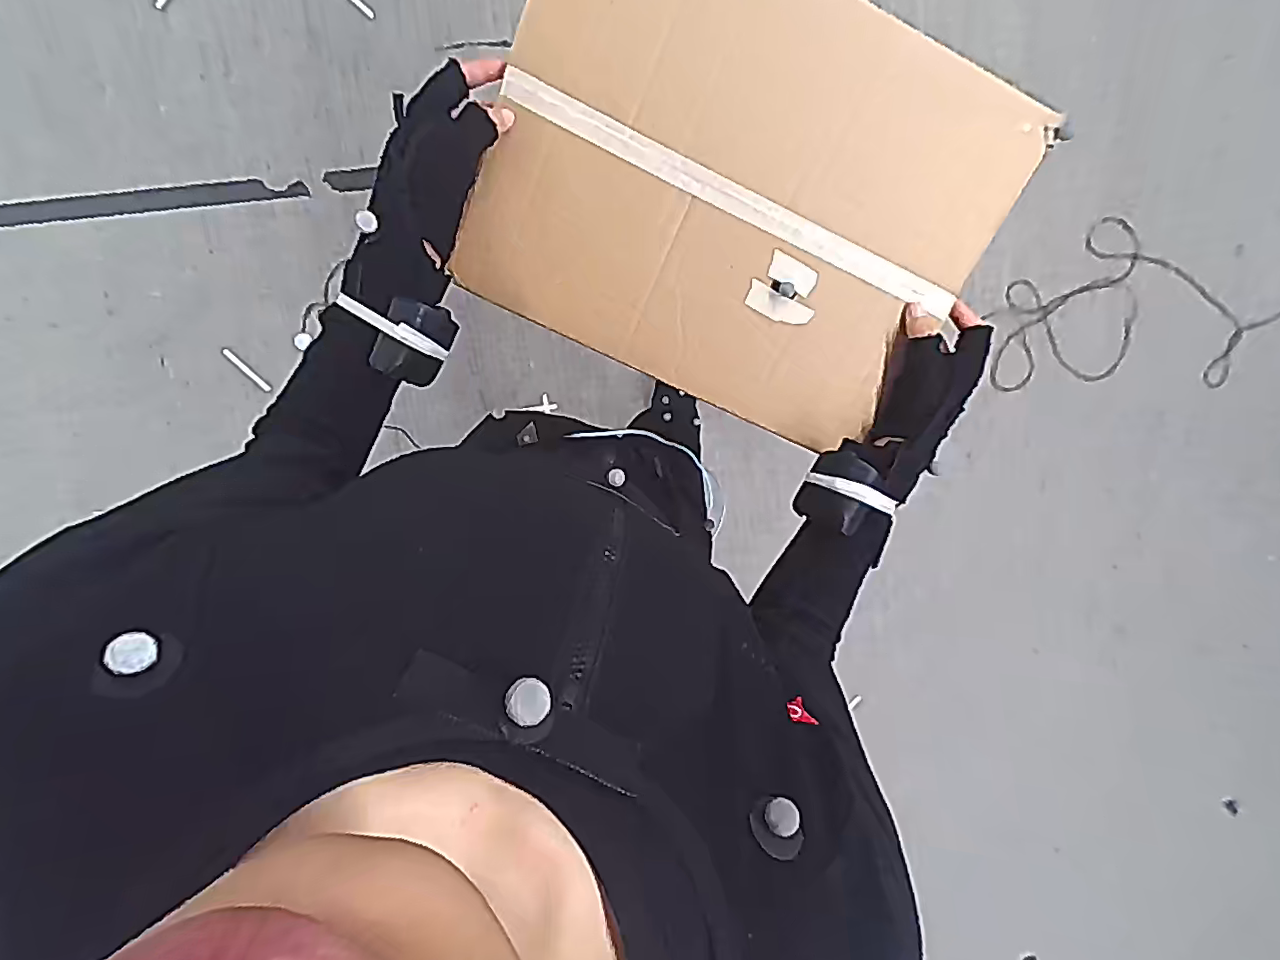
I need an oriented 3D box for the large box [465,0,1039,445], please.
[{"bbox_3d":[0.083,-0.285,0.597,0.408,0.320,0.320,24,108,-8],"label":"large box"}]
